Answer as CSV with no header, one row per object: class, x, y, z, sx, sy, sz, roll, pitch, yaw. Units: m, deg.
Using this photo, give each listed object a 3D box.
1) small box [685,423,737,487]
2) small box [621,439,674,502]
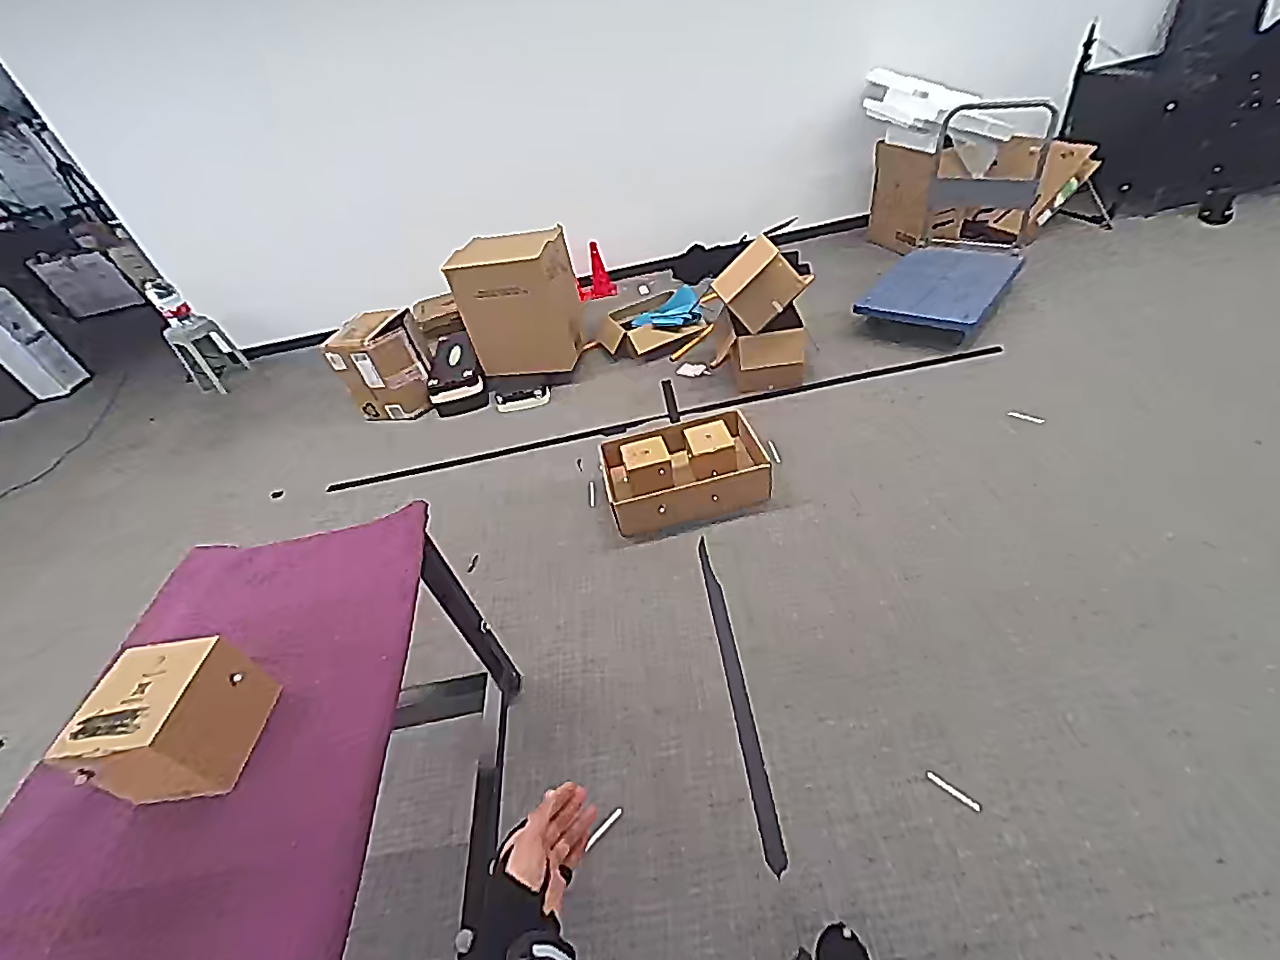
small box,0.284,-0.099,2.174,0.168,0.176,0.179,-15,40,-1
small box,0.032,-0.036,2.166,0.179,0.176,0.168,-15,39,-3
